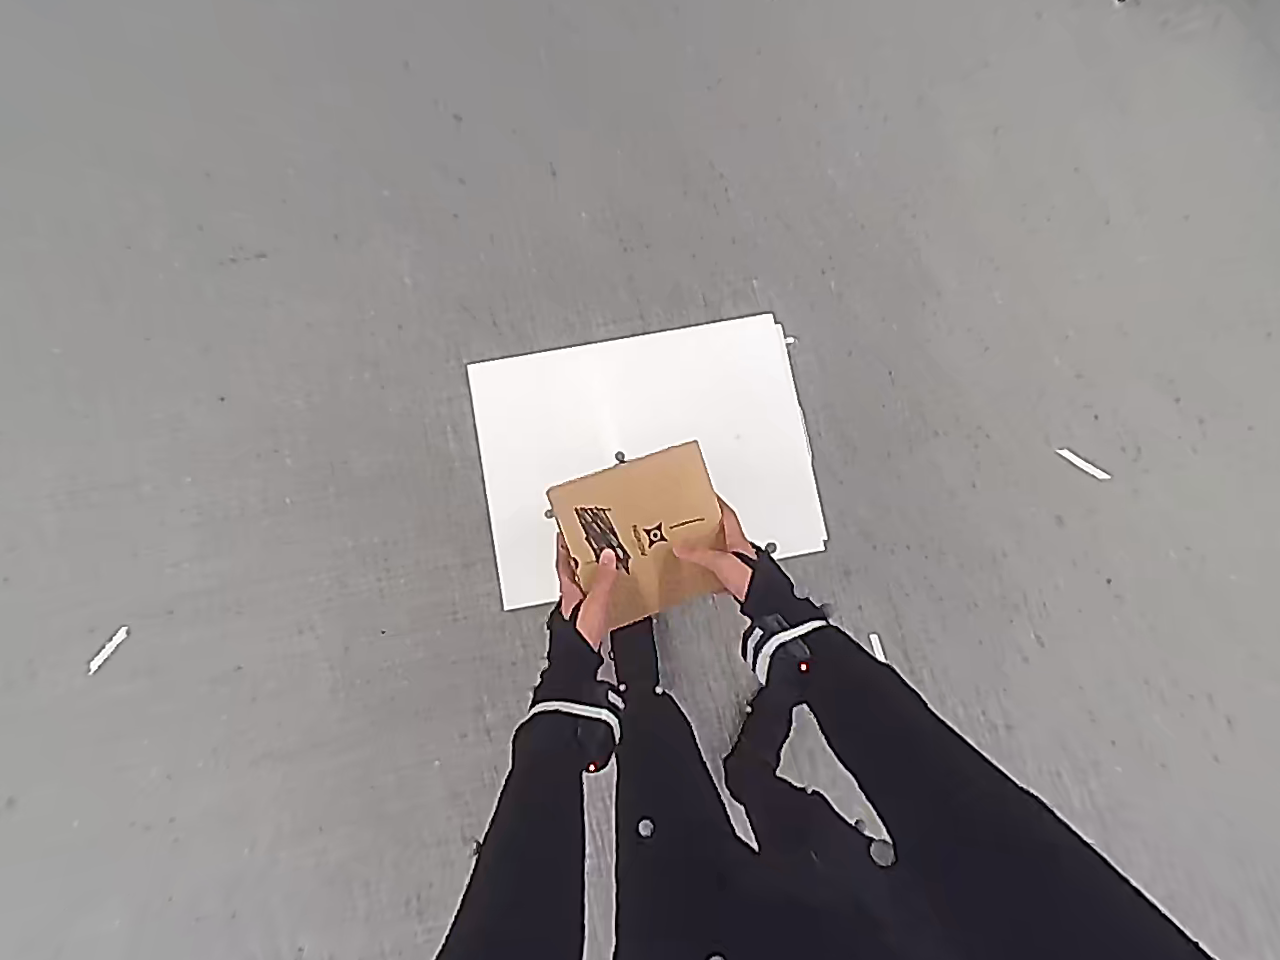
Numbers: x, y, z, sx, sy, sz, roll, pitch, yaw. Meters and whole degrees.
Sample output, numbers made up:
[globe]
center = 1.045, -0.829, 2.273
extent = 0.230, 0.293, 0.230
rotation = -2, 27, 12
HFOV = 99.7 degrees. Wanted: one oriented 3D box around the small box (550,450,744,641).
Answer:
[small box]
center = -0.002, 0.071, 0.663
extent = 0.179, 0.176, 0.168
rotation = -19, 93, -9
